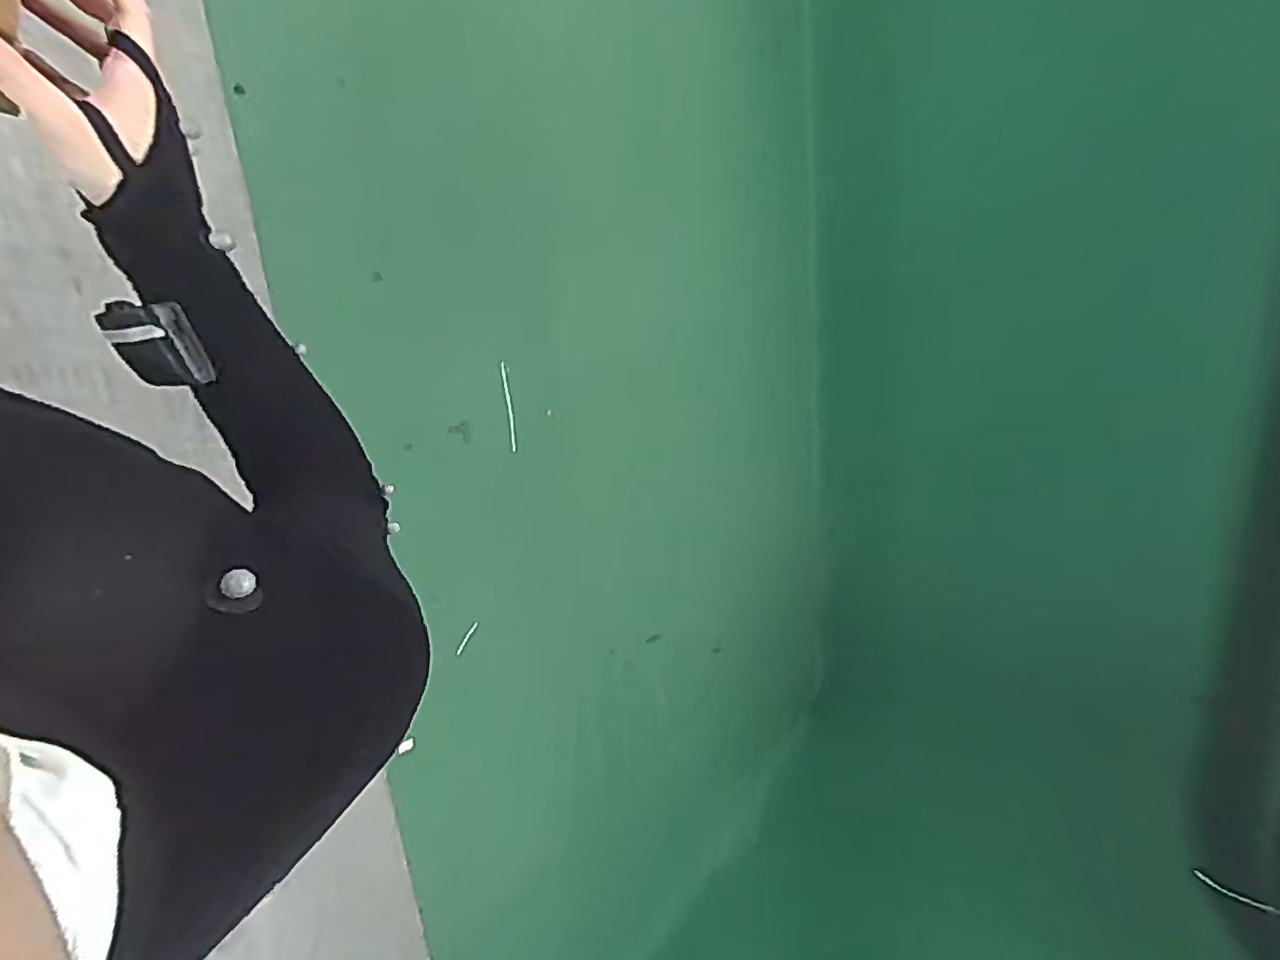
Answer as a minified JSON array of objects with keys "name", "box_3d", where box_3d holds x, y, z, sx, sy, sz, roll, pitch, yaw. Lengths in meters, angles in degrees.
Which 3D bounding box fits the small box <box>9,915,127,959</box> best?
[{"name":"small box","box_3d":[-1.181,1.054,1.114,0.168,0.176,0.179,-2,98,-48]}]
